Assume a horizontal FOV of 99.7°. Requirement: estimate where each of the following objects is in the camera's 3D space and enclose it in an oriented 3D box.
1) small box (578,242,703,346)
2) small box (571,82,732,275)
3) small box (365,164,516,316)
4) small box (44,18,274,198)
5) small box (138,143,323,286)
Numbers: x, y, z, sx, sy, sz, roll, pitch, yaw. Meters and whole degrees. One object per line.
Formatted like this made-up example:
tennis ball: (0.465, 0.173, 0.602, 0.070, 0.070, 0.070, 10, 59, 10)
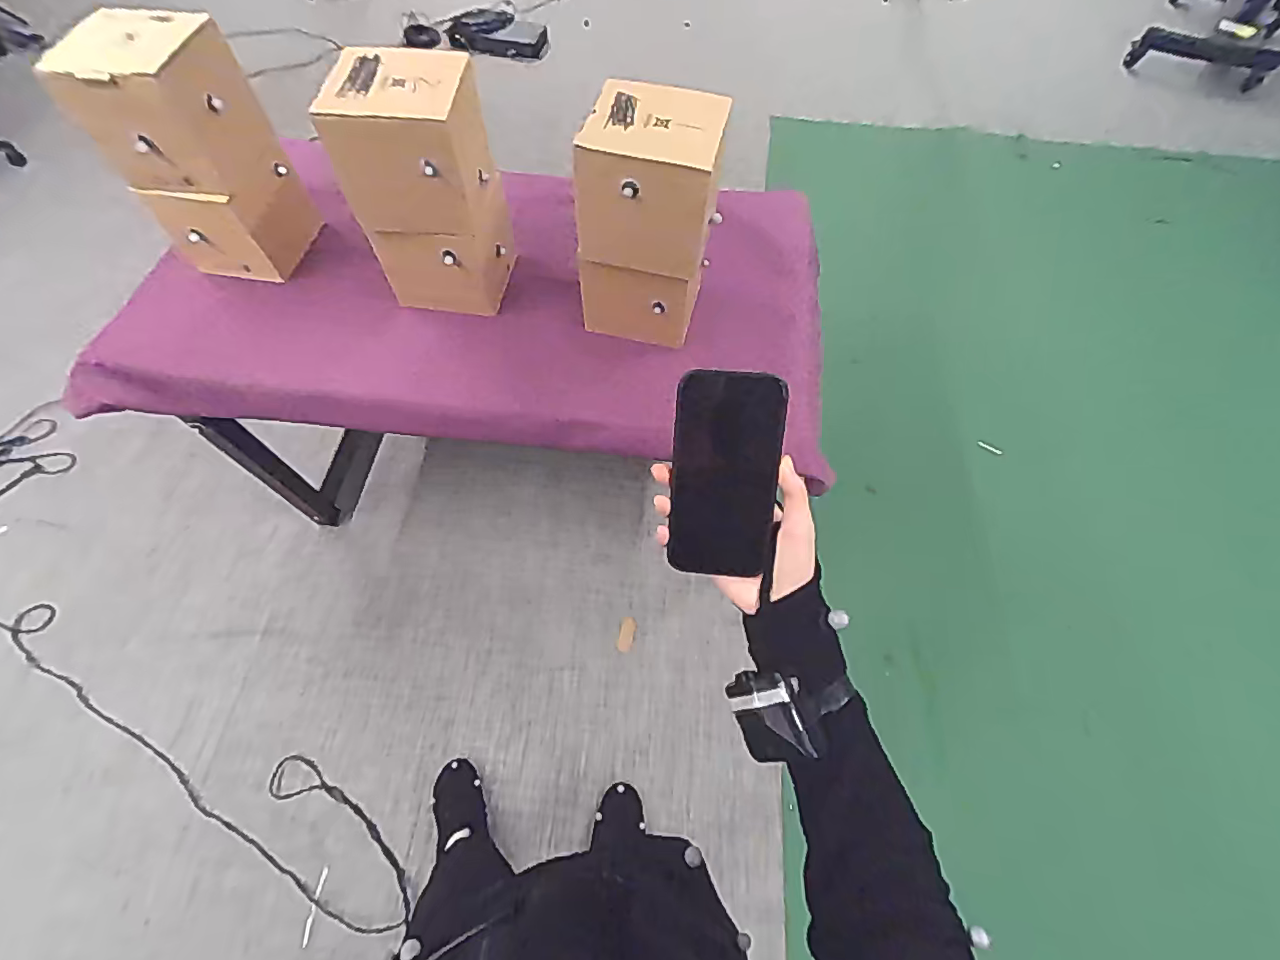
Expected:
small box: (0.009, -0.349, 0.906, 0.179, 0.176, 0.168, 13, 62, 7)
small box: (0.017, -0.413, 0.754, 0.179, 0.176, 0.168, 13, 62, 6)
small box: (-0.326, -0.406, 0.931, 0.179, 0.176, 0.168, 7, 61, 3)
small box: (-0.707, -0.559, 0.824, 0.168, 0.176, 0.179, 4, 62, 1)
small box: (-0.710, -0.474, 0.965, 0.168, 0.176, 0.179, 8, 61, 4)
